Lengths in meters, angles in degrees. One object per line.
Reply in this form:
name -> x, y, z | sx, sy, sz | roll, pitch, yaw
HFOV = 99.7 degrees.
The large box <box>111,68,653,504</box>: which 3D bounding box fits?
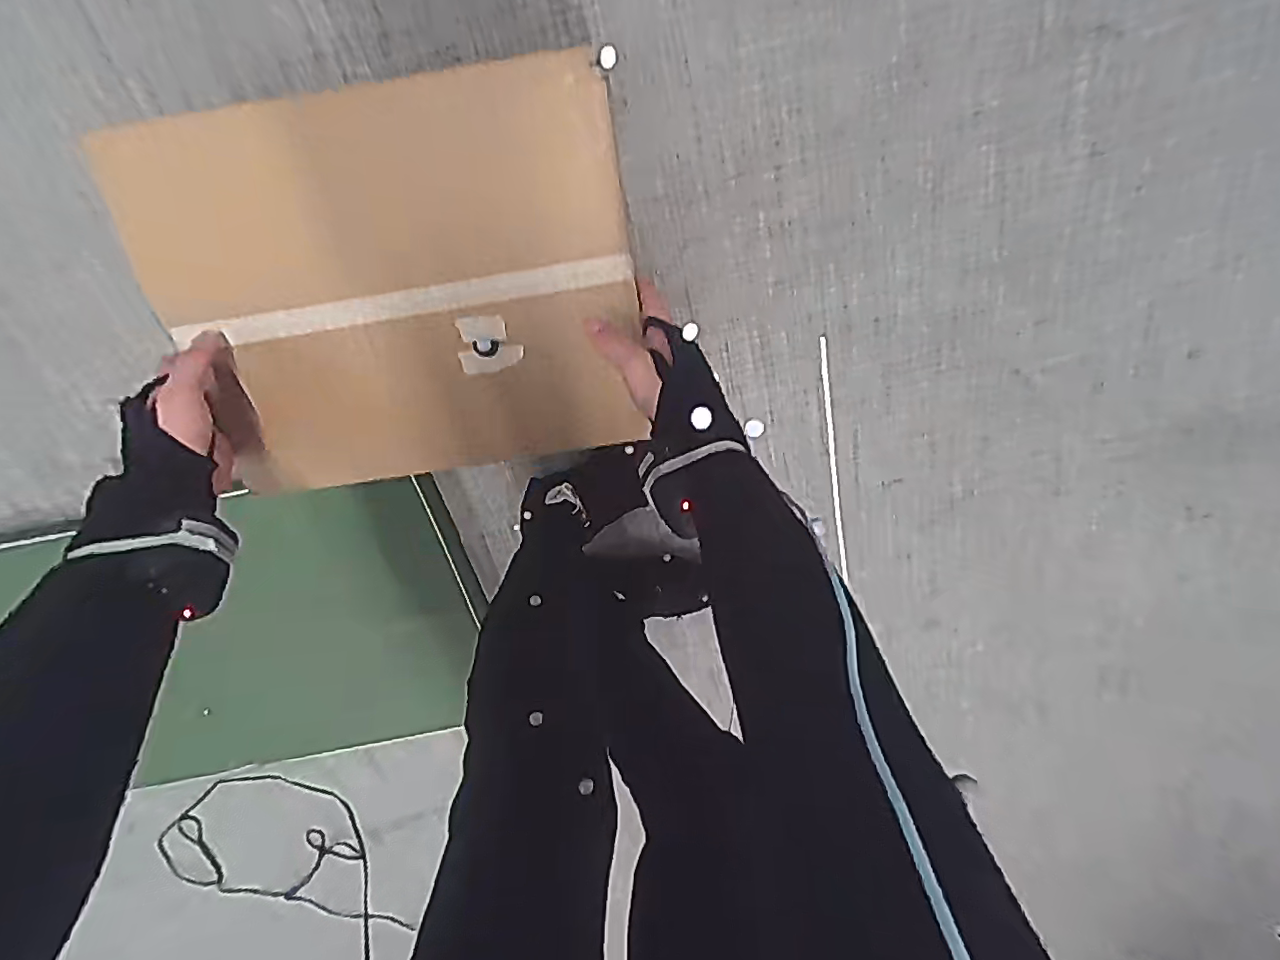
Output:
large box -> -0.213, -0.202, 0.618 | 0.408, 0.320, 0.320 | -9, 113, 1
